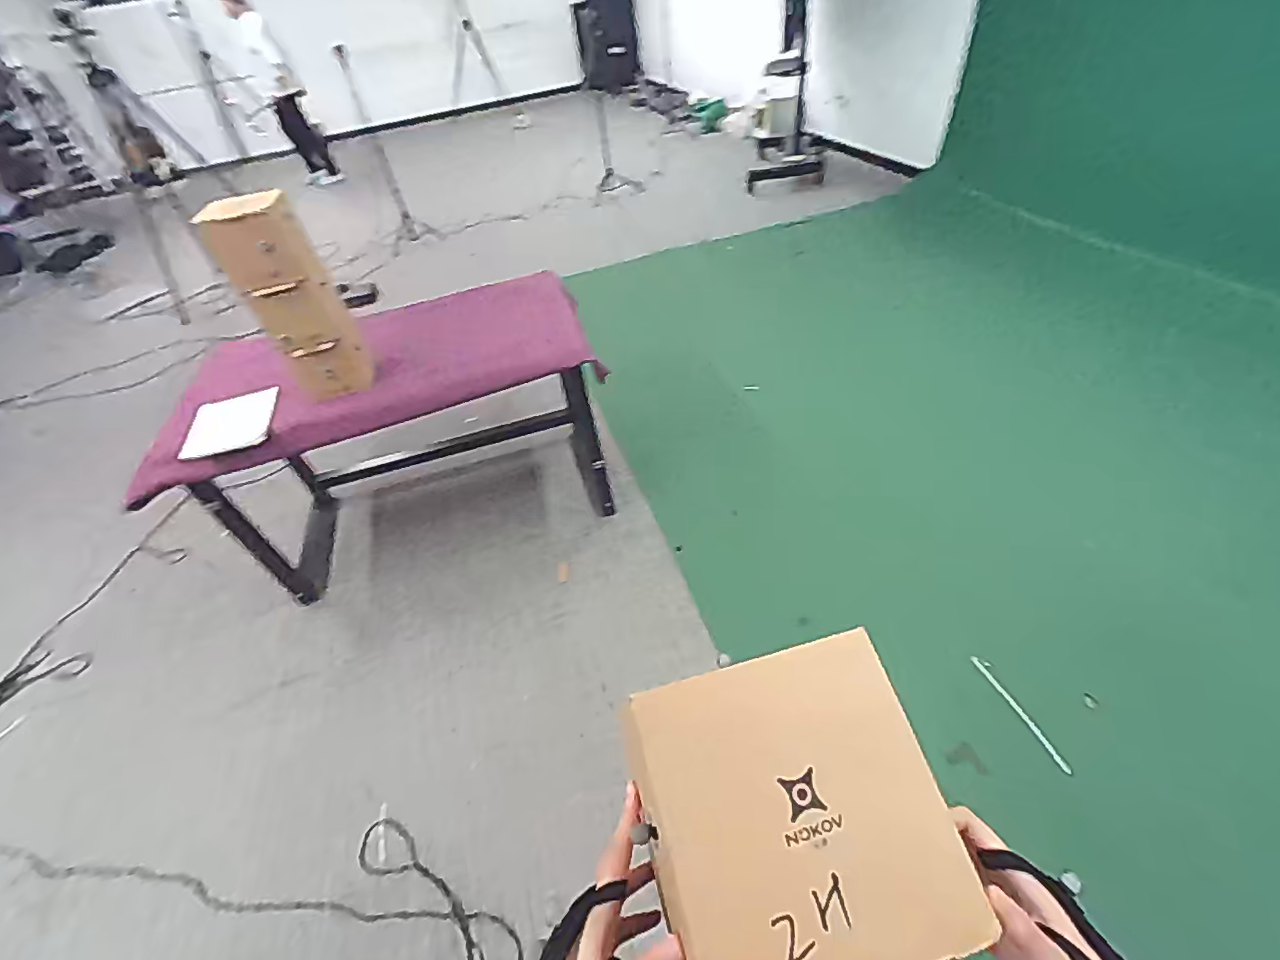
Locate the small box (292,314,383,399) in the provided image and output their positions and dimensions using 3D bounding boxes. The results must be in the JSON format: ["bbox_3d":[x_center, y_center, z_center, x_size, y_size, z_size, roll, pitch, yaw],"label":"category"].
[{"bbox_3d":[-0.863,-0.350,1.563,0.168,0.176,0.179,-15,44,-7],"label":"small box"}]

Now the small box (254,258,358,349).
[{"bbox_3d":[-0.881,-0.465,1.446,0.168,0.176,0.179,-15,43,-6],"label":"small box"}]

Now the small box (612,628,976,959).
[{"bbox_3d":[0.079,0.227,0.389,0.168,0.176,0.179,-12,66,-11],"label":"small box"}]

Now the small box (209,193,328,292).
[{"bbox_3d":[-0.899,-0.579,1.331,0.168,0.176,0.179,-14,43,-6],"label":"small box"}]
